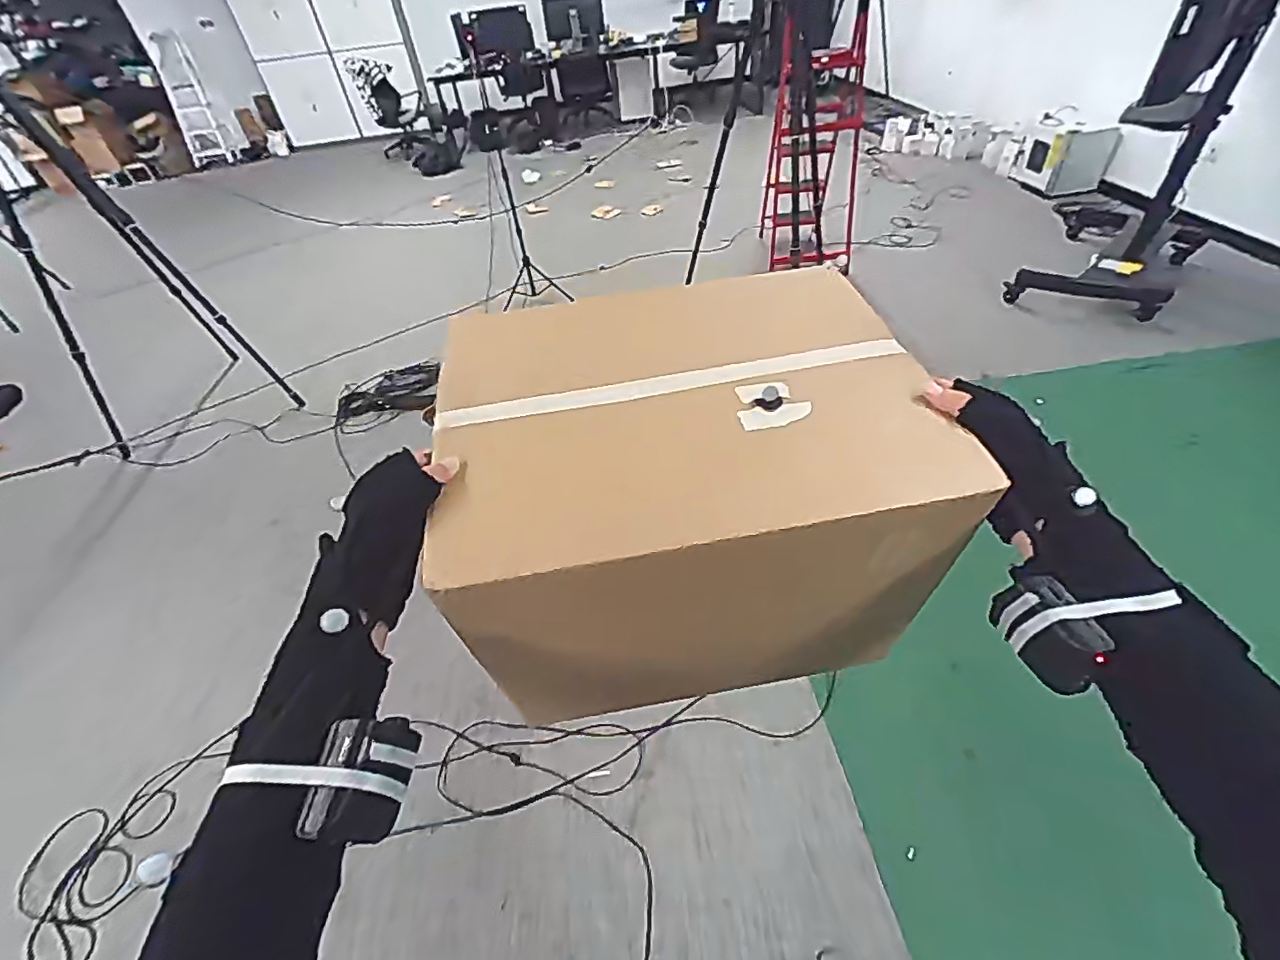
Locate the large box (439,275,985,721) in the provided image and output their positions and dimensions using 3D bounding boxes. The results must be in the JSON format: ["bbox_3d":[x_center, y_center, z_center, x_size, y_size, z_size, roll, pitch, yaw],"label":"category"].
[{"bbox_3d":[0.038,0.022,0.583,0.408,0.320,0.320,-9,51,-4],"label":"large box"}]
